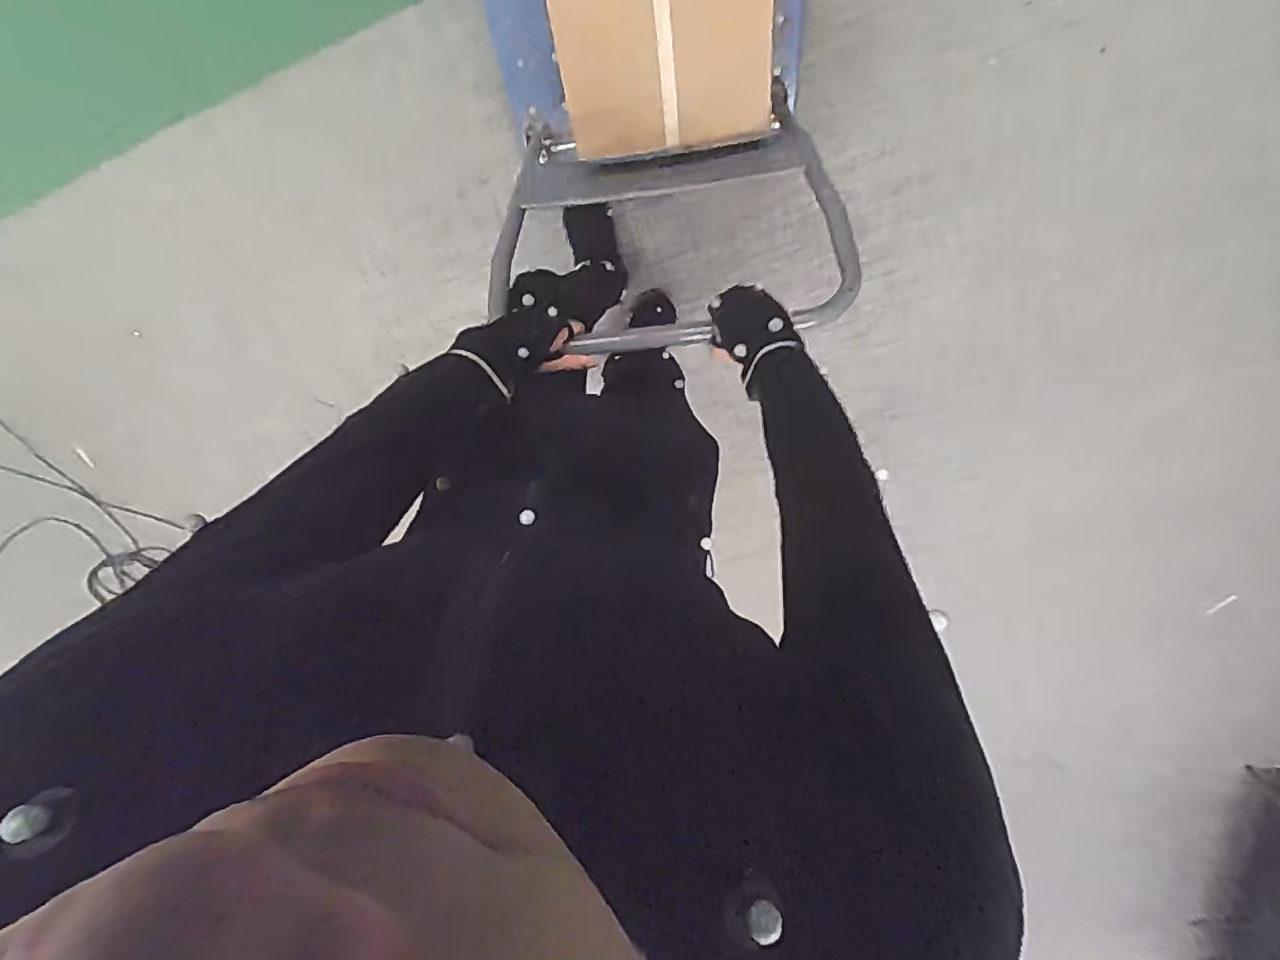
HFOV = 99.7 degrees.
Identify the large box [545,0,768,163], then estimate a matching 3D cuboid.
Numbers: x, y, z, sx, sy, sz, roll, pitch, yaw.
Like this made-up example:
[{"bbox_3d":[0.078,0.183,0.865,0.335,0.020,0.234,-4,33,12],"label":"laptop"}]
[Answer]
[{"bbox_3d":[0.022,-0.783,0.847,0.320,0.320,0.408,-5,136,5],"label":"large box"}]
